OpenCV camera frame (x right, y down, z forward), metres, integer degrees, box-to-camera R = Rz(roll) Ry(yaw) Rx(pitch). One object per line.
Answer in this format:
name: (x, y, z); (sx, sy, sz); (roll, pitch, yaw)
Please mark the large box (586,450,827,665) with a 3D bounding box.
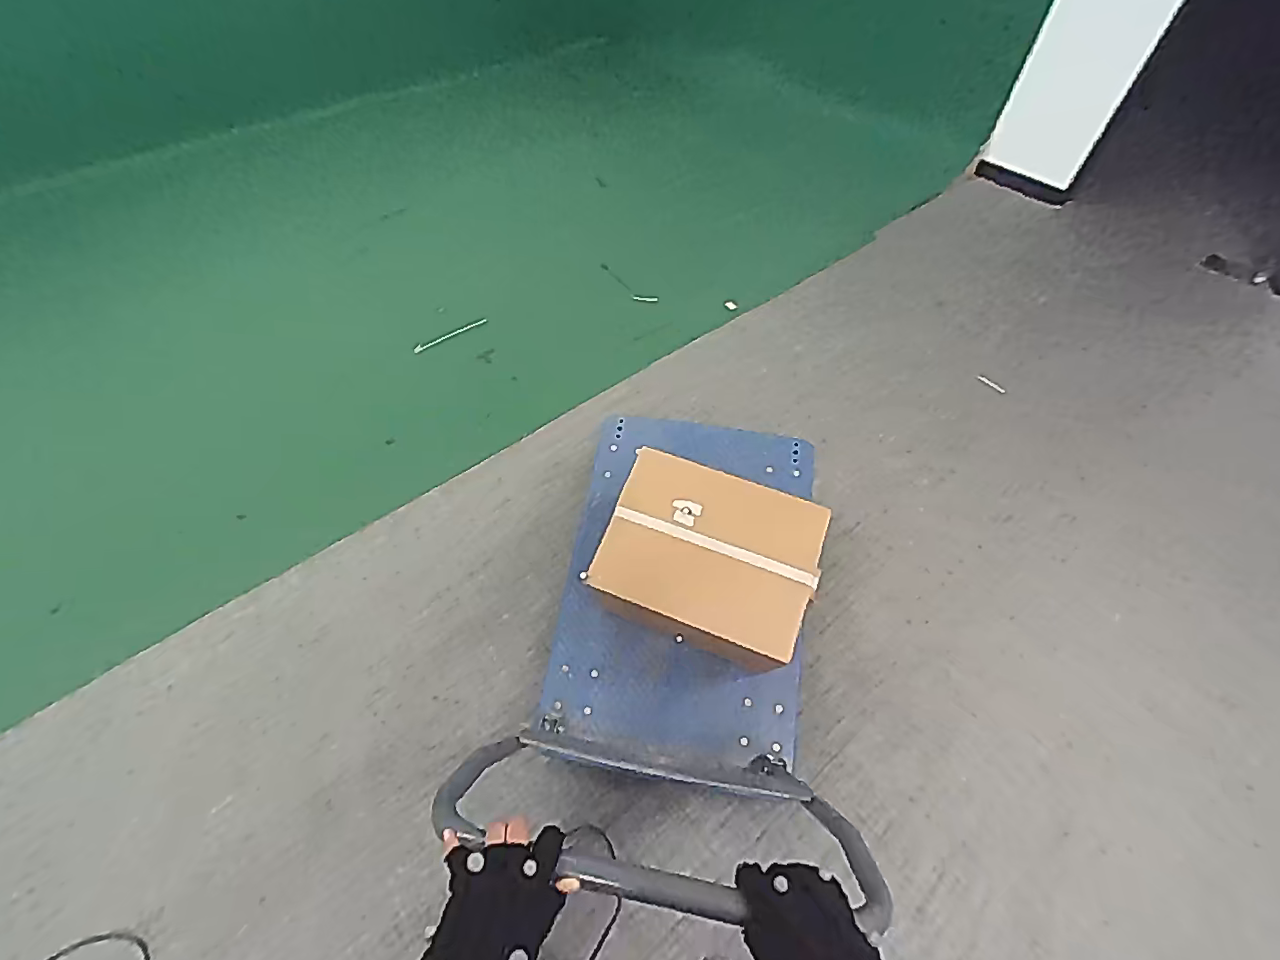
large box: (0.144, 0.182, 1.185); (0.408, 0.320, 0.320); (19, 70, 11)
